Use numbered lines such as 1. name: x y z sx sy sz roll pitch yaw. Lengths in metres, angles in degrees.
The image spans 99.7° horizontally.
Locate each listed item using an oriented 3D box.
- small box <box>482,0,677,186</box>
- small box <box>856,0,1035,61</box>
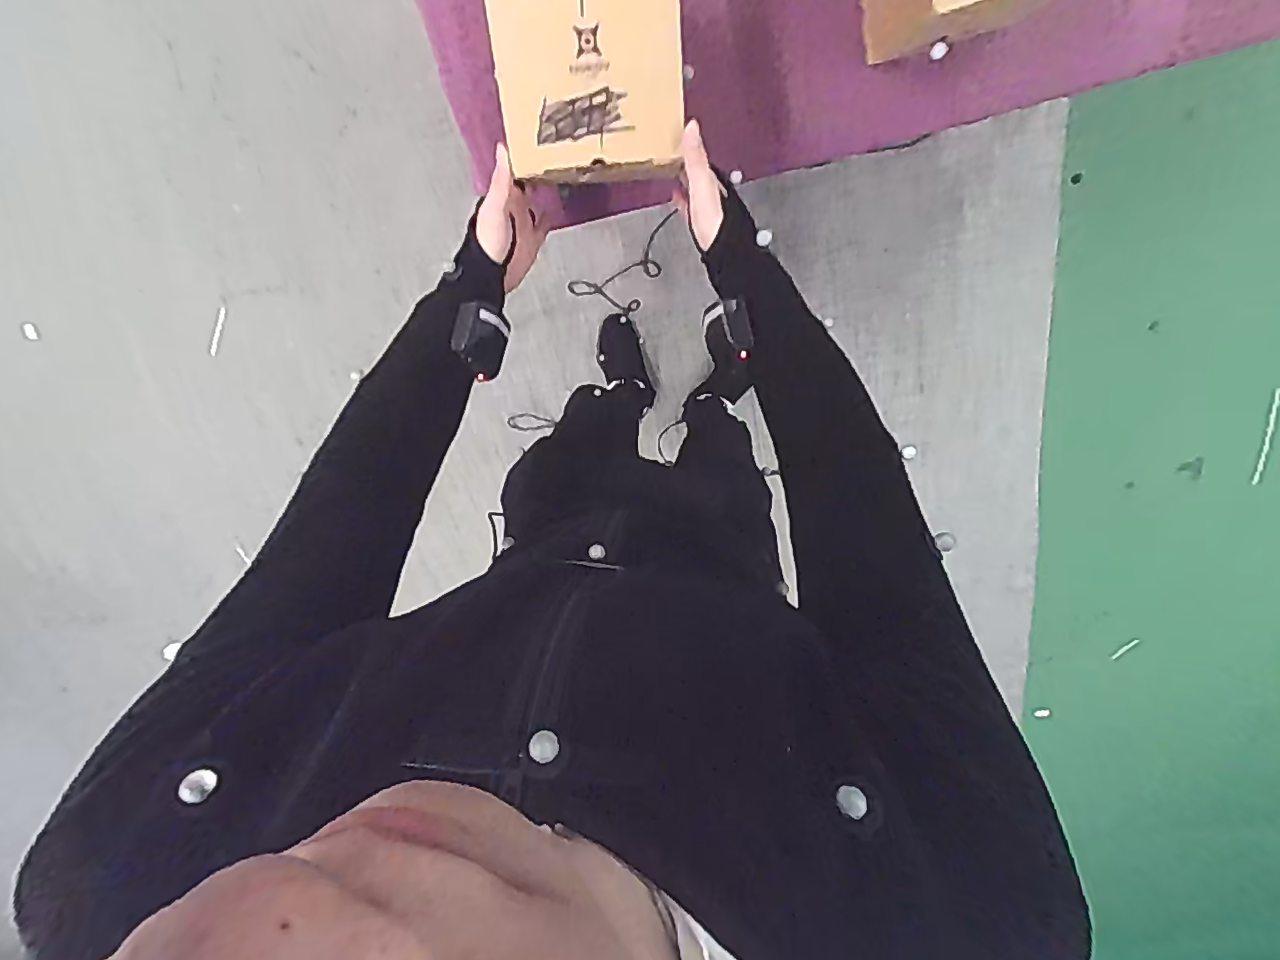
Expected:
1. small box: -0.049 -0.405 0.551 0.168 0.176 0.179 -4 115 3
2. small box: 0.314 -0.550 0.520 0.168 0.176 0.179 -12 114 8
